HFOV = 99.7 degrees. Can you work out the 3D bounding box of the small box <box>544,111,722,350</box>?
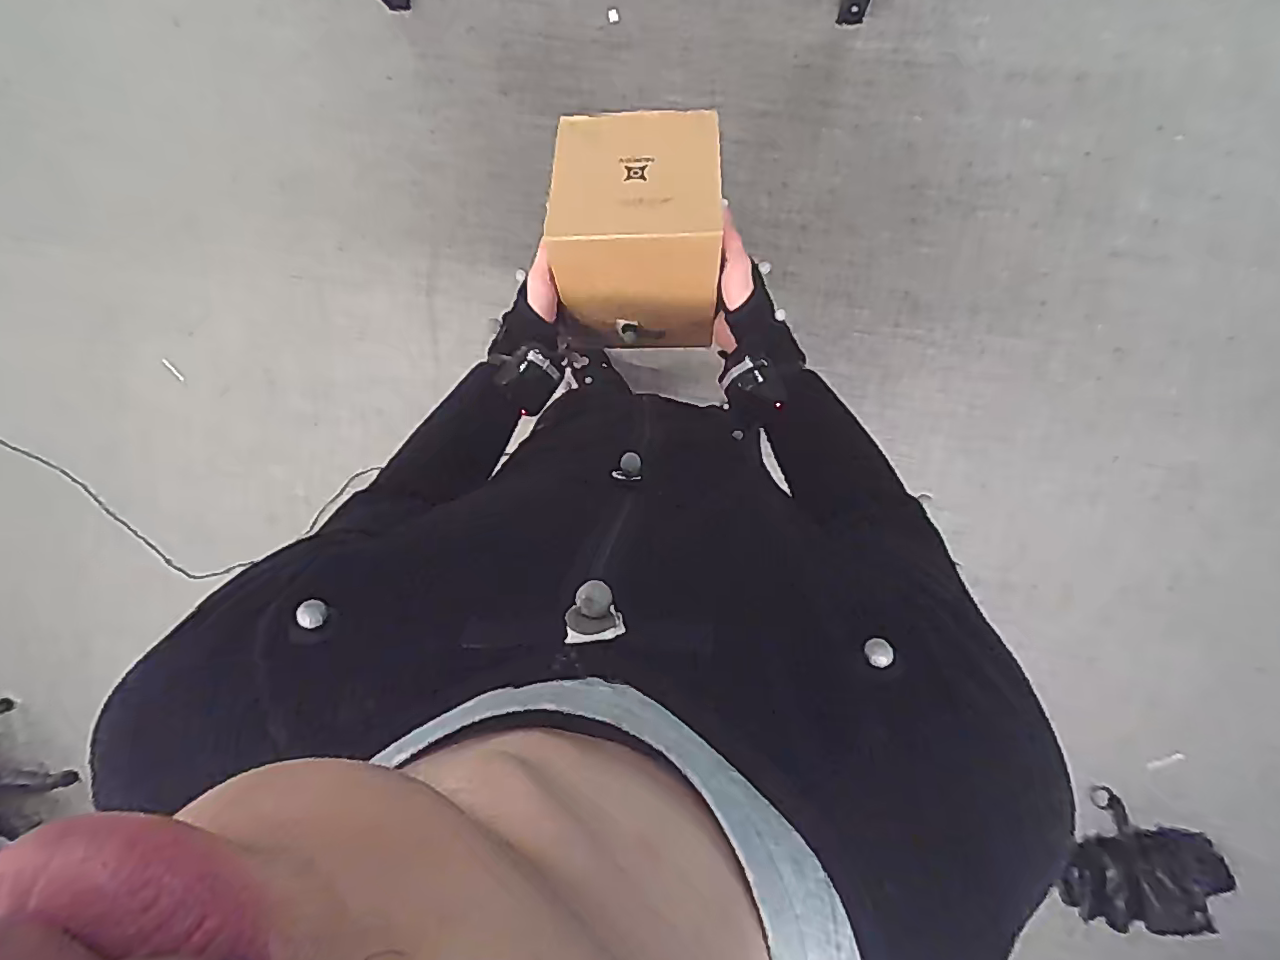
[{"bbox_3d":[0.000,-0.266,0.595,0.168,0.176,0.179,0,67,4],"label":"small box"}]
